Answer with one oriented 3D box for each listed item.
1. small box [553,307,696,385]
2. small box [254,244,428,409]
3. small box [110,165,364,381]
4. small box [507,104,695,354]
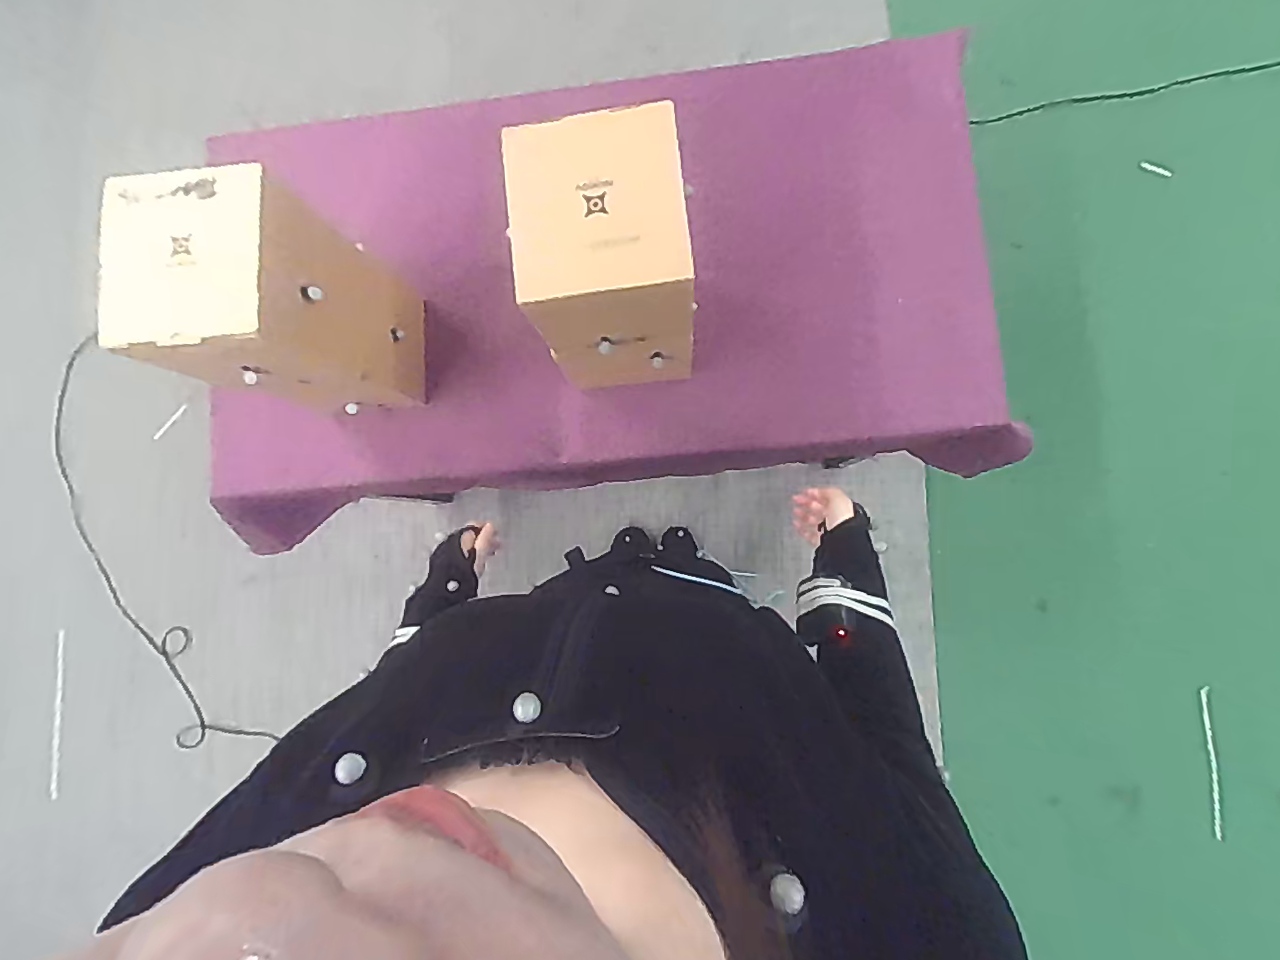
[{"bbox_3d":[-0.020,-0.236,0.743,0.179,0.176,0.168,-5,84,4],"label":"small box"},{"bbox_3d":[-0.417,-0.208,0.771,0.168,0.176,0.179,-3,86,4],"label":"small box"},{"bbox_3d":[-0.432,-0.213,0.607,0.168,0.176,0.179,-3,86,3],"label":"small box"},{"bbox_3d":[-0.033,-0.252,0.581,0.168,0.176,0.179,-6,85,4],"label":"small box"}]
